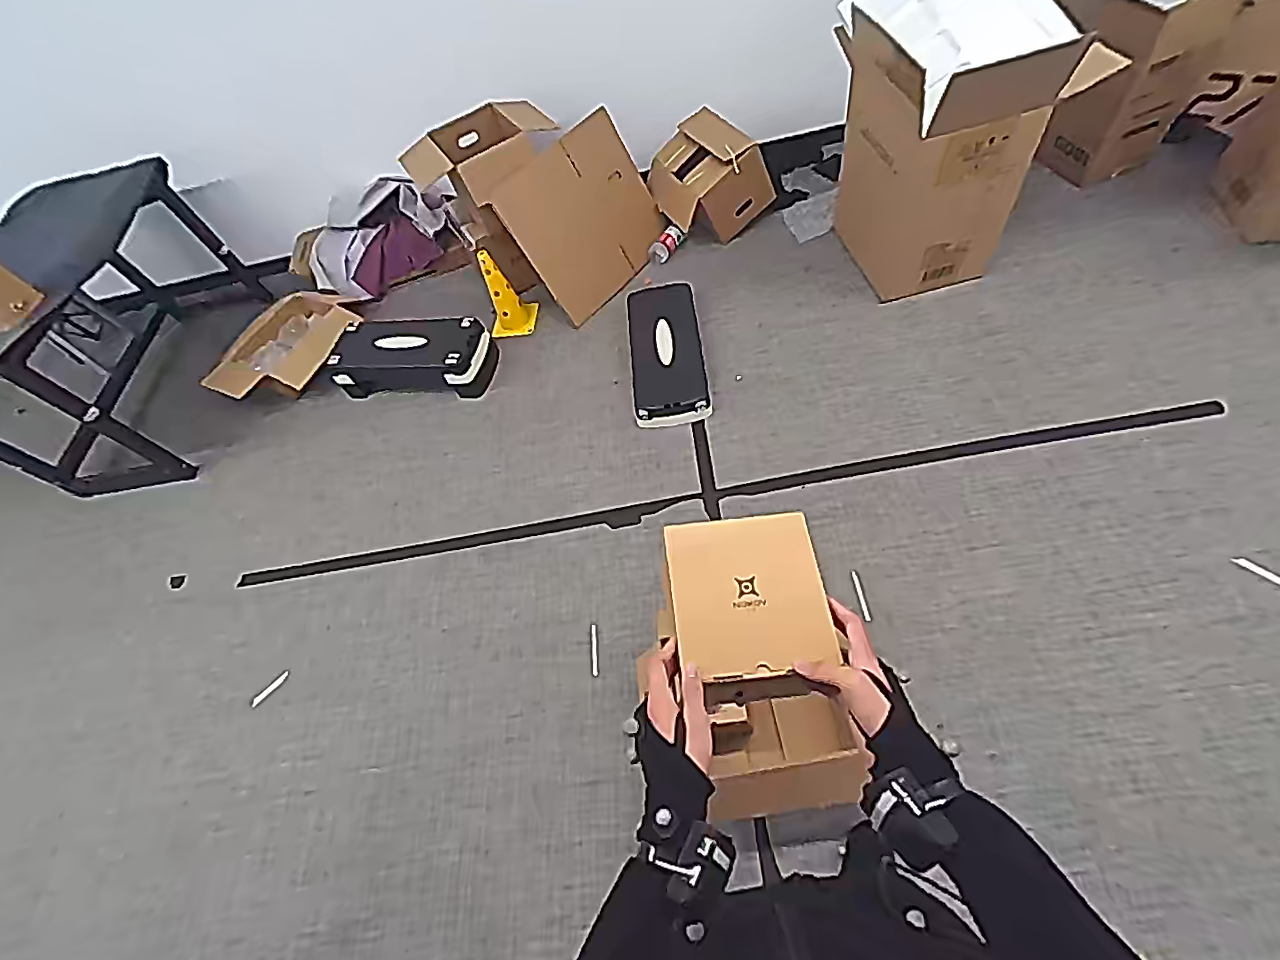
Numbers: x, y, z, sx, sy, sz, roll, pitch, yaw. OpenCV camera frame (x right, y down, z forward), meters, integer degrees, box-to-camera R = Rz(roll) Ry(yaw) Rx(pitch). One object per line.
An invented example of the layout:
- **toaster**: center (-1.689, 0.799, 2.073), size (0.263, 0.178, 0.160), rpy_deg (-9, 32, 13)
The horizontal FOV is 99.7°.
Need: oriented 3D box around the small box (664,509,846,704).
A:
- **small box**: center (0.118, 0.155, 0.643), size (0.168, 0.176, 0.179), rpy_deg (-6, 60, -1)
